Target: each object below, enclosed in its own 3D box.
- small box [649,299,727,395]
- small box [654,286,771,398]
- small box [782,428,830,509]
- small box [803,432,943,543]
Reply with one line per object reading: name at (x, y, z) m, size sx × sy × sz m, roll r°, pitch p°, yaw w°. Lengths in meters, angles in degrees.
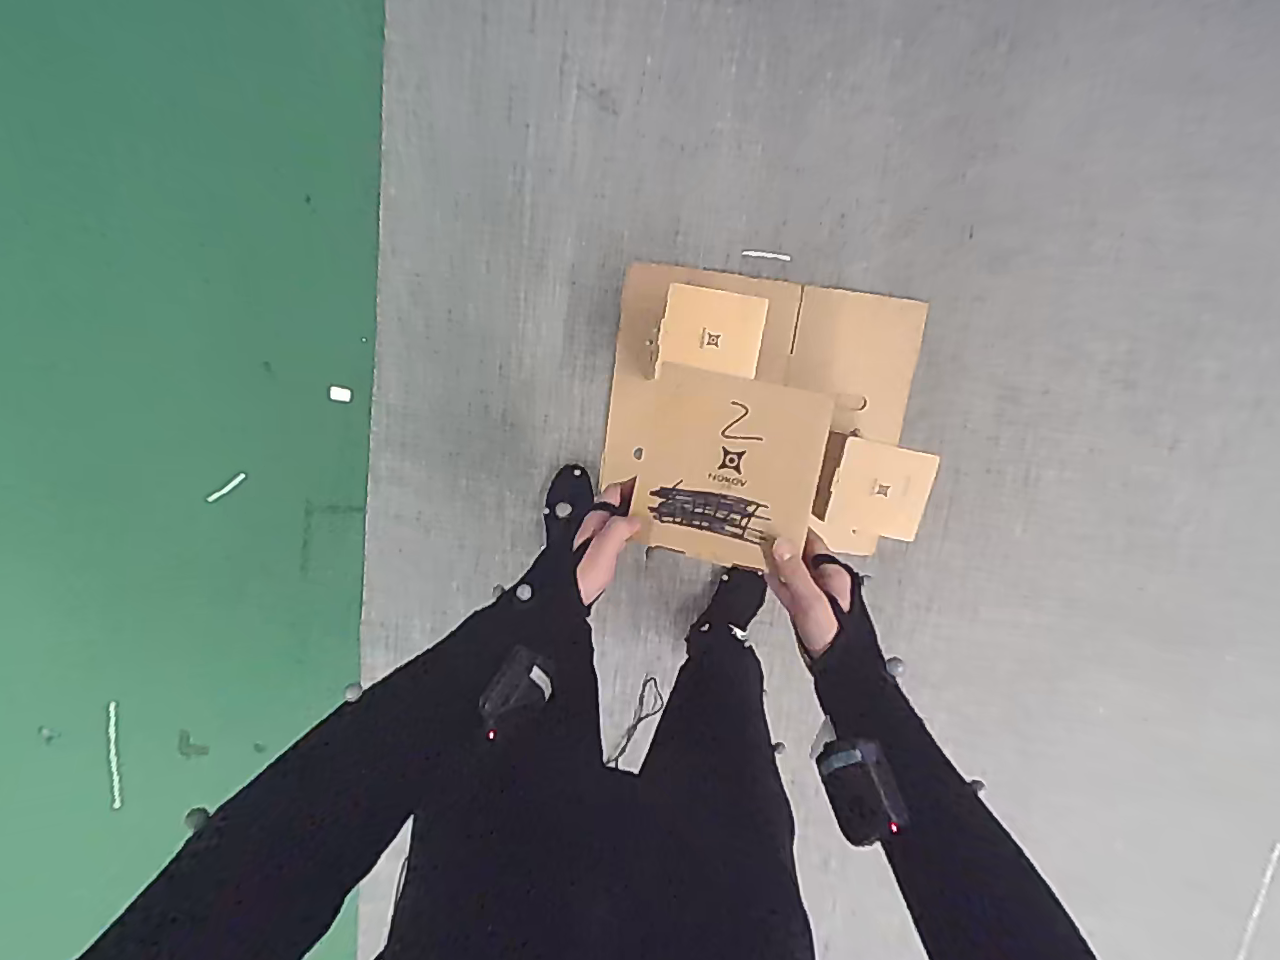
small box at (0.118, -0.279, 1.159) m, size 0.179 × 0.176 × 0.168 m, roll 9°, pitch 99°, yaw -1°
small box at (0.124, -0.250, 1.000) m, size 0.179 × 0.176 × 0.168 m, roll 9°, pitch 100°, yaw -1°
small box at (0.437, -0.019, 1.207) m, size 0.179 × 0.176 × 0.168 m, roll 10°, pitch 99°, yaw -1°
small box at (0.435, 0.005, 1.045) m, size 0.179 × 0.176 × 0.168 m, roll 13°, pitch 100°, yaw -2°
